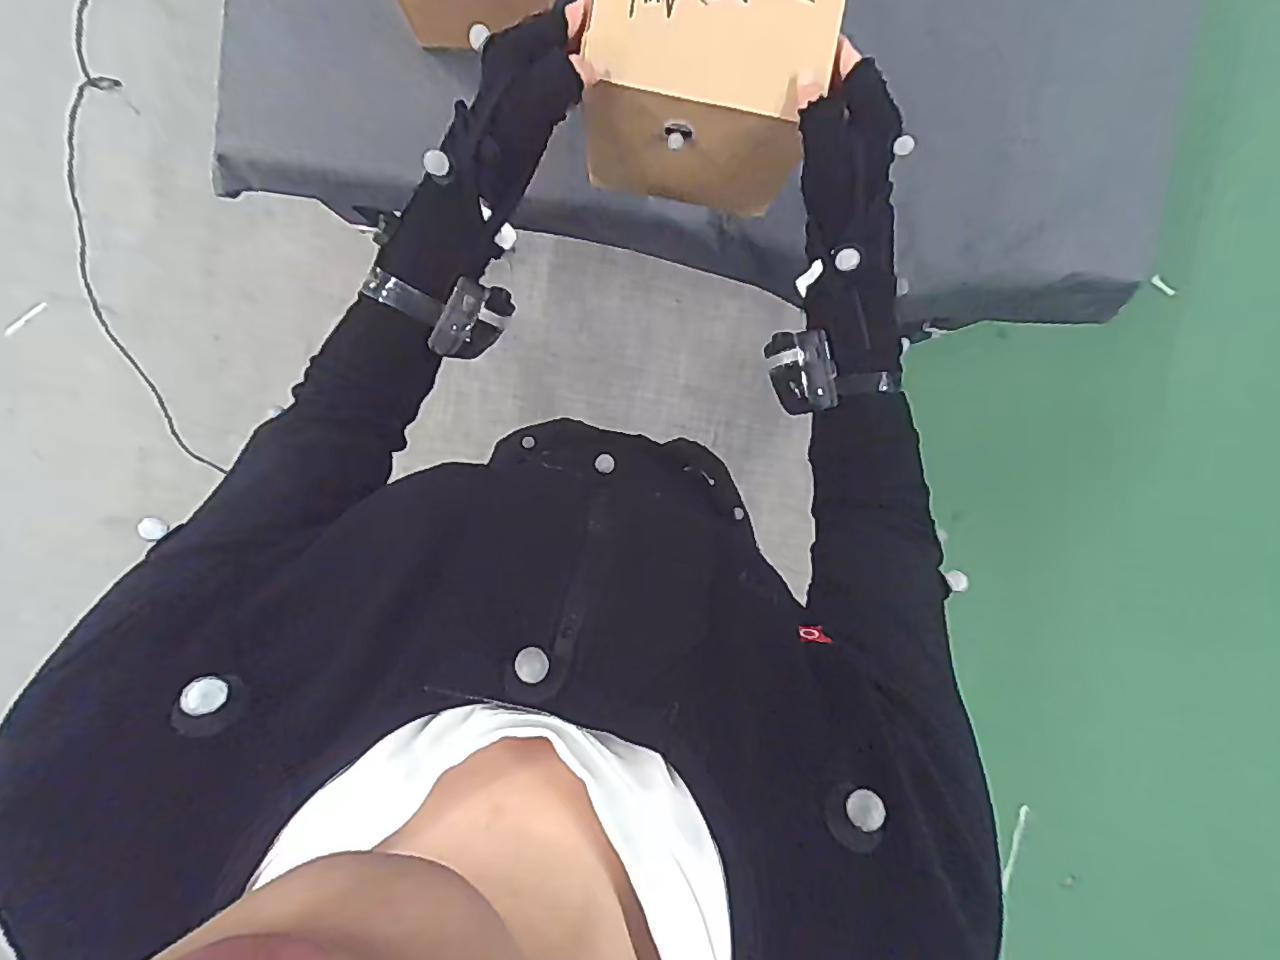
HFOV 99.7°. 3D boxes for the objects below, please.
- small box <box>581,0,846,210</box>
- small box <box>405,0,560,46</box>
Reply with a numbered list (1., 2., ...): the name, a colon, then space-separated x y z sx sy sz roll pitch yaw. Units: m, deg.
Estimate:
1. small box: 0.055 -0.350 0.451 0.179 0.176 0.168 10 96 -3
2. small box: -0.187 -0.622 0.597 0.179 0.176 0.168 -1 96 -2
